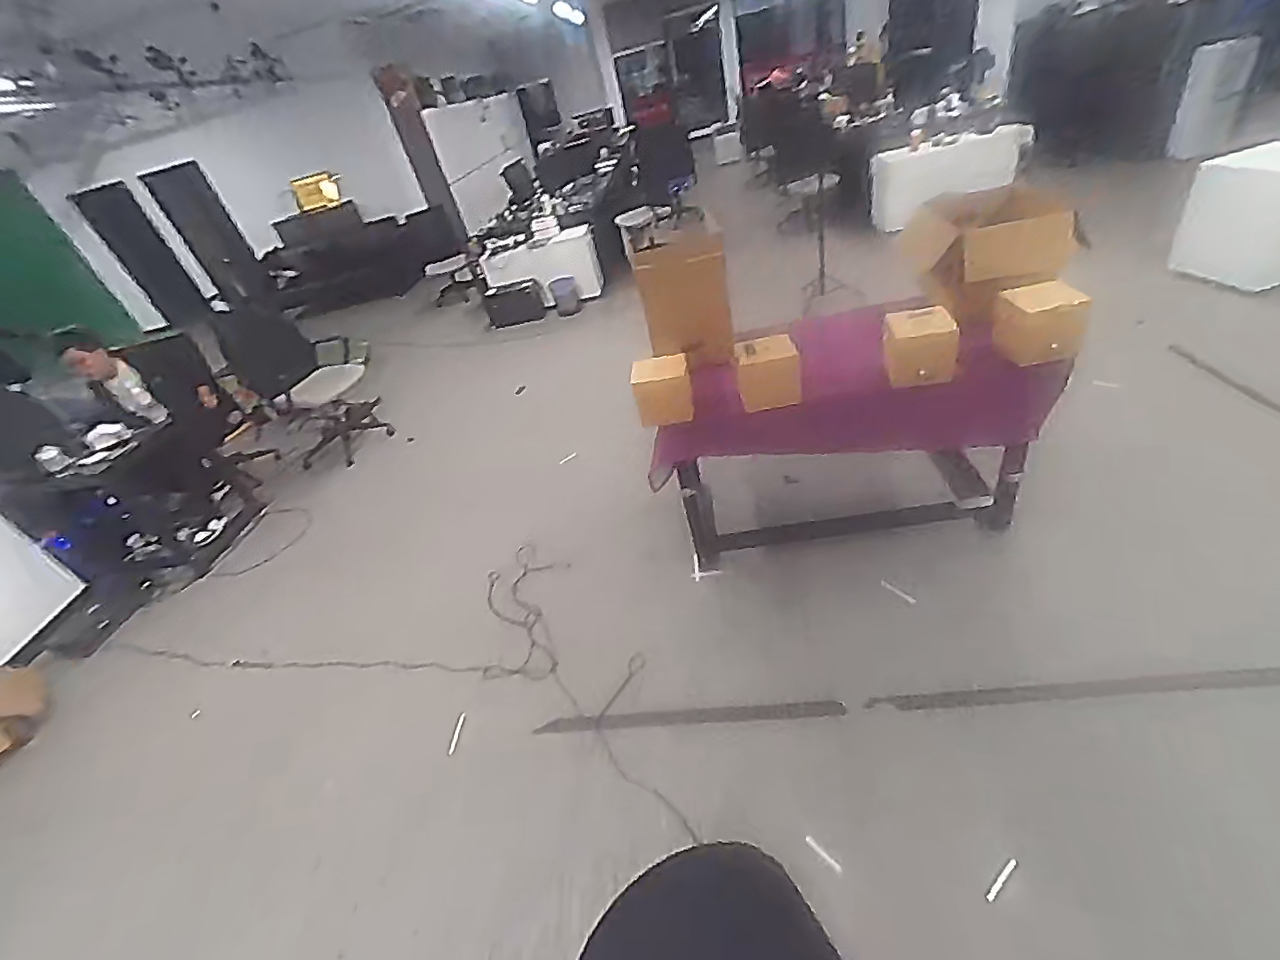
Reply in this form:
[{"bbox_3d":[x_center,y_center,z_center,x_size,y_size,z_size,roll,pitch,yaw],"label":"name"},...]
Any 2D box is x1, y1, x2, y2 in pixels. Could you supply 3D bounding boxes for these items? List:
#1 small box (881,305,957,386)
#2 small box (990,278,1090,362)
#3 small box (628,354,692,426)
[{"bbox_3d":[0.833,-0.405,1.633,0.168,0.176,0.179,-6,39,15],"label":"small box"},{"bbox_3d":[1.156,-0.465,1.581,0.168,0.176,0.179,-11,36,10],"label":"small box"},{"bbox_3d":[0.071,-0.292,1.782,0.179,0.176,0.168,-7,37,10],"label":"small box"}]
